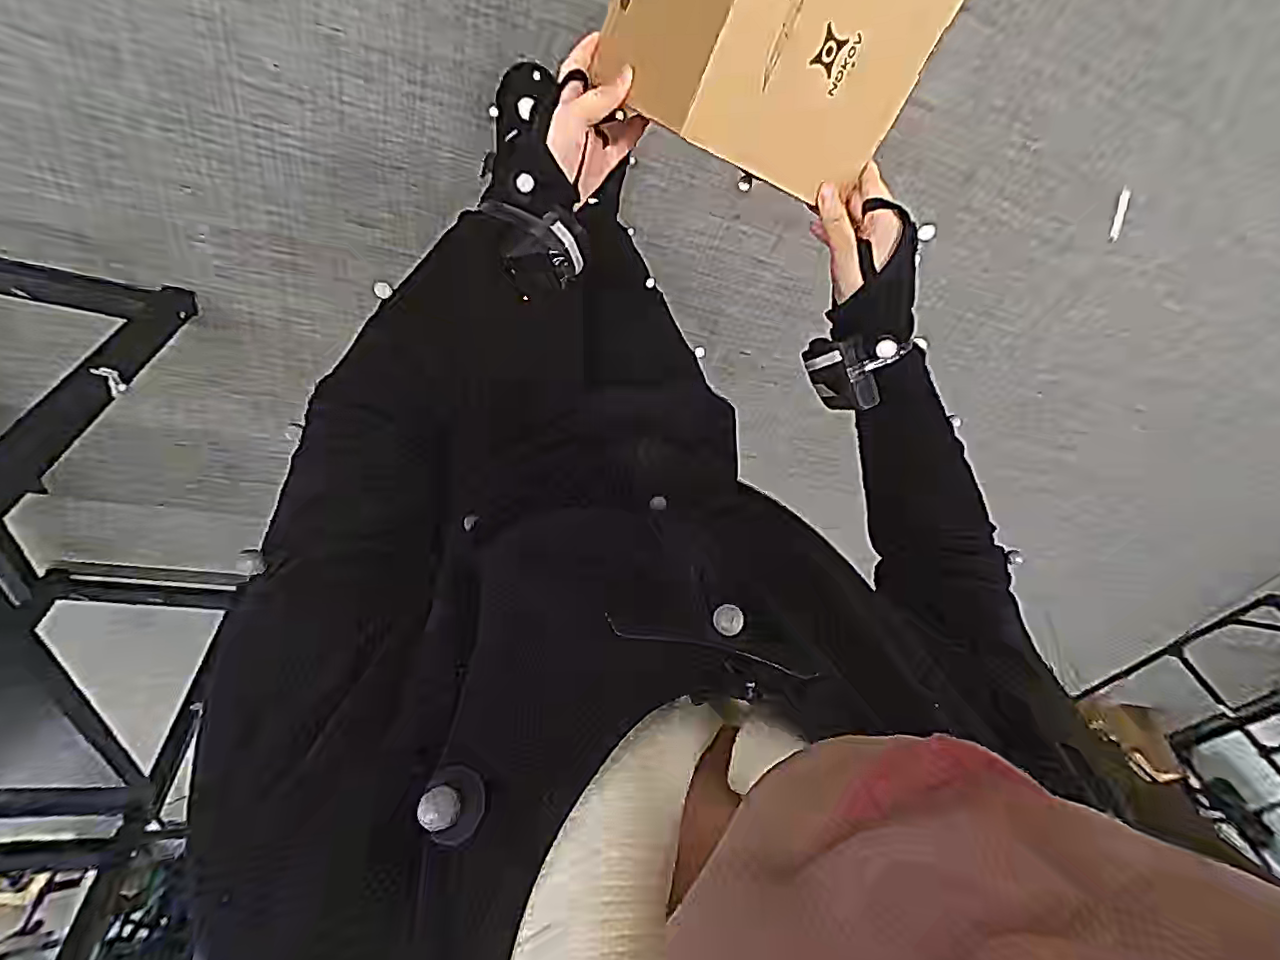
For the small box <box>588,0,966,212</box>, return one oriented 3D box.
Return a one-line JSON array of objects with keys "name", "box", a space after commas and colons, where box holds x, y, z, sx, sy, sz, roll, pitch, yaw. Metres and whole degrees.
[{"name": "small box", "box": [0.090, -0.333, 0.396, 0.179, 0.176, 0.168, 2, 130, -36]}]
